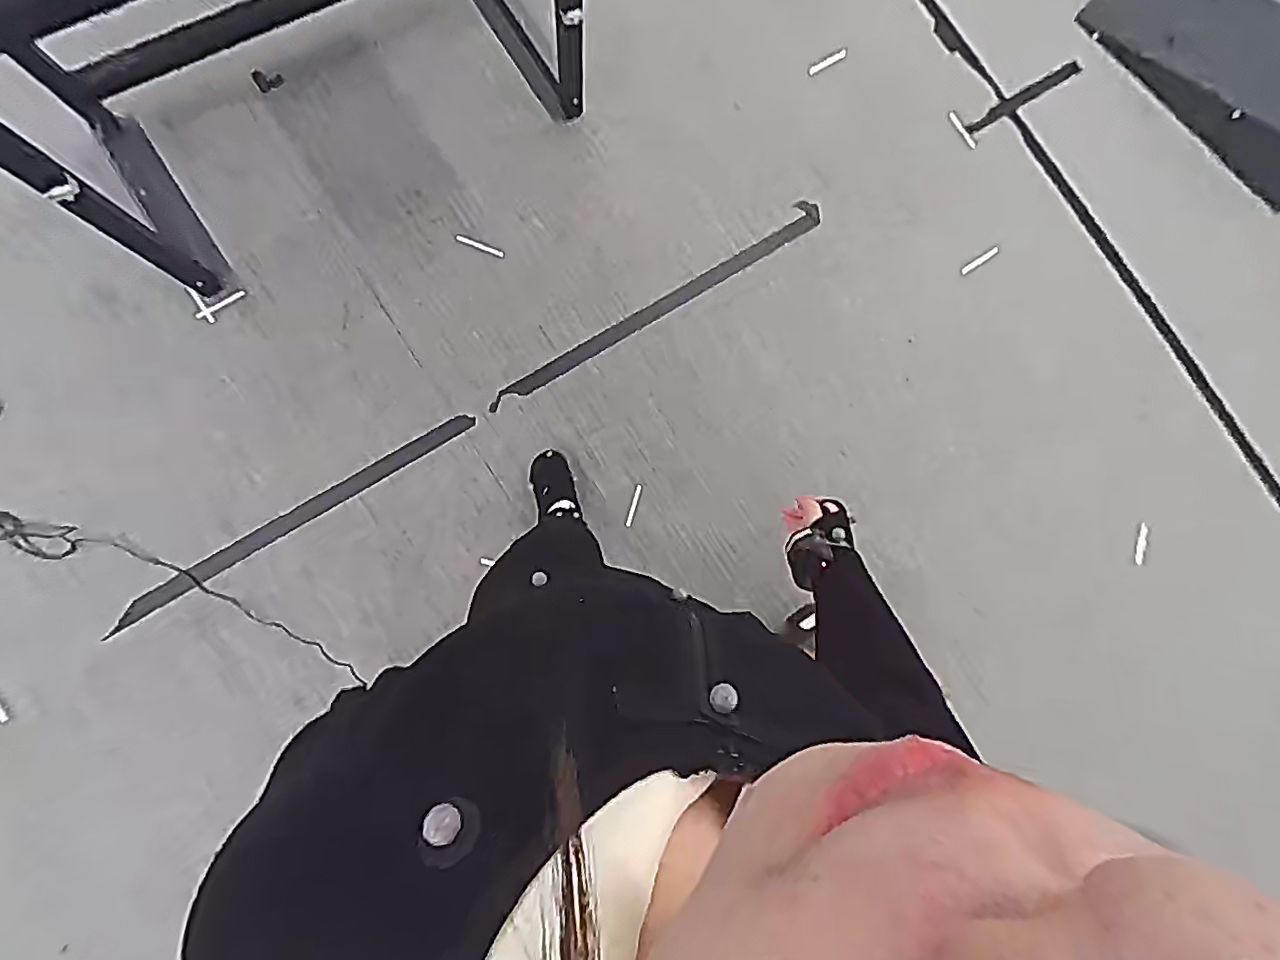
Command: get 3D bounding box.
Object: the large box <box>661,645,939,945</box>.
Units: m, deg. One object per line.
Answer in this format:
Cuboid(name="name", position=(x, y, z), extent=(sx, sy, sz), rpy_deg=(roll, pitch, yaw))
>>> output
Cuboid(name="large box", position=(0.308, 0.615, 1.146), extent=(0.408, 0.320, 0.320), rpy_deg=(-34, 89, -10))
